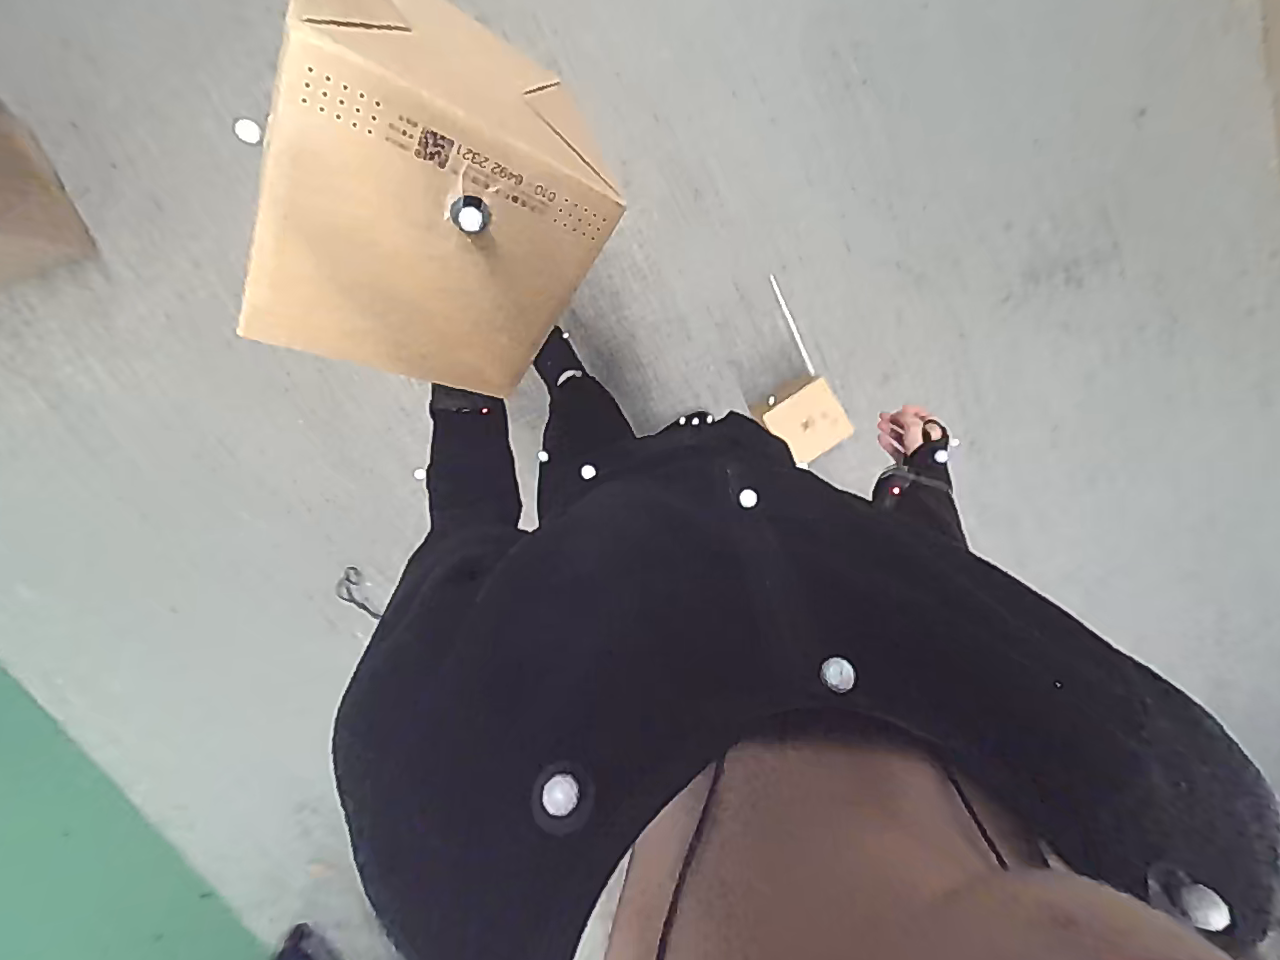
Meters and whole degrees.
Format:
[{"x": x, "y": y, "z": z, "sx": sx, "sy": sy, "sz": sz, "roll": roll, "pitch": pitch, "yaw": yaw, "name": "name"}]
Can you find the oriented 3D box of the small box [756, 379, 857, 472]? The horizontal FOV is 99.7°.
[{"x": 0.415, "y": -0.146, "z": 1.389, "sx": 0.179, "sy": 0.176, "sz": 0.168, "roll": -33, "pitch": 101, "yaw": 7, "name": "small box"}]
